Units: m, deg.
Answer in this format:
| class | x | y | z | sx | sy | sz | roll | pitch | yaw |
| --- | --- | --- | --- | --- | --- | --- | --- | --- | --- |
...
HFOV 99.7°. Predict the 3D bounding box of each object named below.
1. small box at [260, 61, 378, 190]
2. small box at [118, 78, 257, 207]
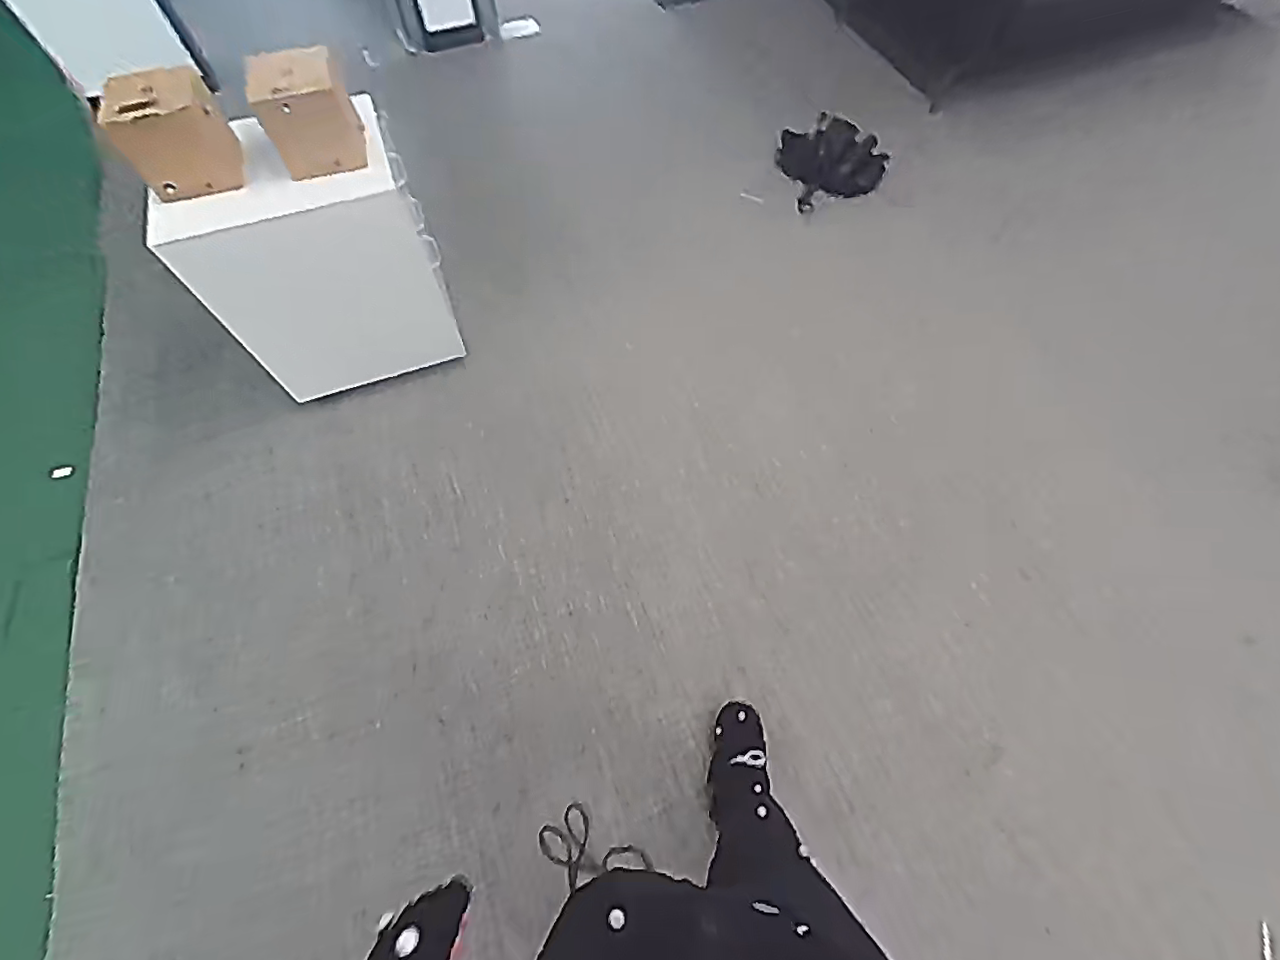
| class | x | y | z | sx | sy | sz | roll | pitch | yaw |
| --- | --- | --- | --- | --- | --- | --- | --- | --- | --- |
| small box | -0.701 | -0.781 | 1.196 | 0.168 | 0.176 | 0.179 | -16 | 63 | -7 |
| small box | -0.961 | -0.717 | 1.165 | 0.168 | 0.176 | 0.179 | -18 | 63 | -9 |
